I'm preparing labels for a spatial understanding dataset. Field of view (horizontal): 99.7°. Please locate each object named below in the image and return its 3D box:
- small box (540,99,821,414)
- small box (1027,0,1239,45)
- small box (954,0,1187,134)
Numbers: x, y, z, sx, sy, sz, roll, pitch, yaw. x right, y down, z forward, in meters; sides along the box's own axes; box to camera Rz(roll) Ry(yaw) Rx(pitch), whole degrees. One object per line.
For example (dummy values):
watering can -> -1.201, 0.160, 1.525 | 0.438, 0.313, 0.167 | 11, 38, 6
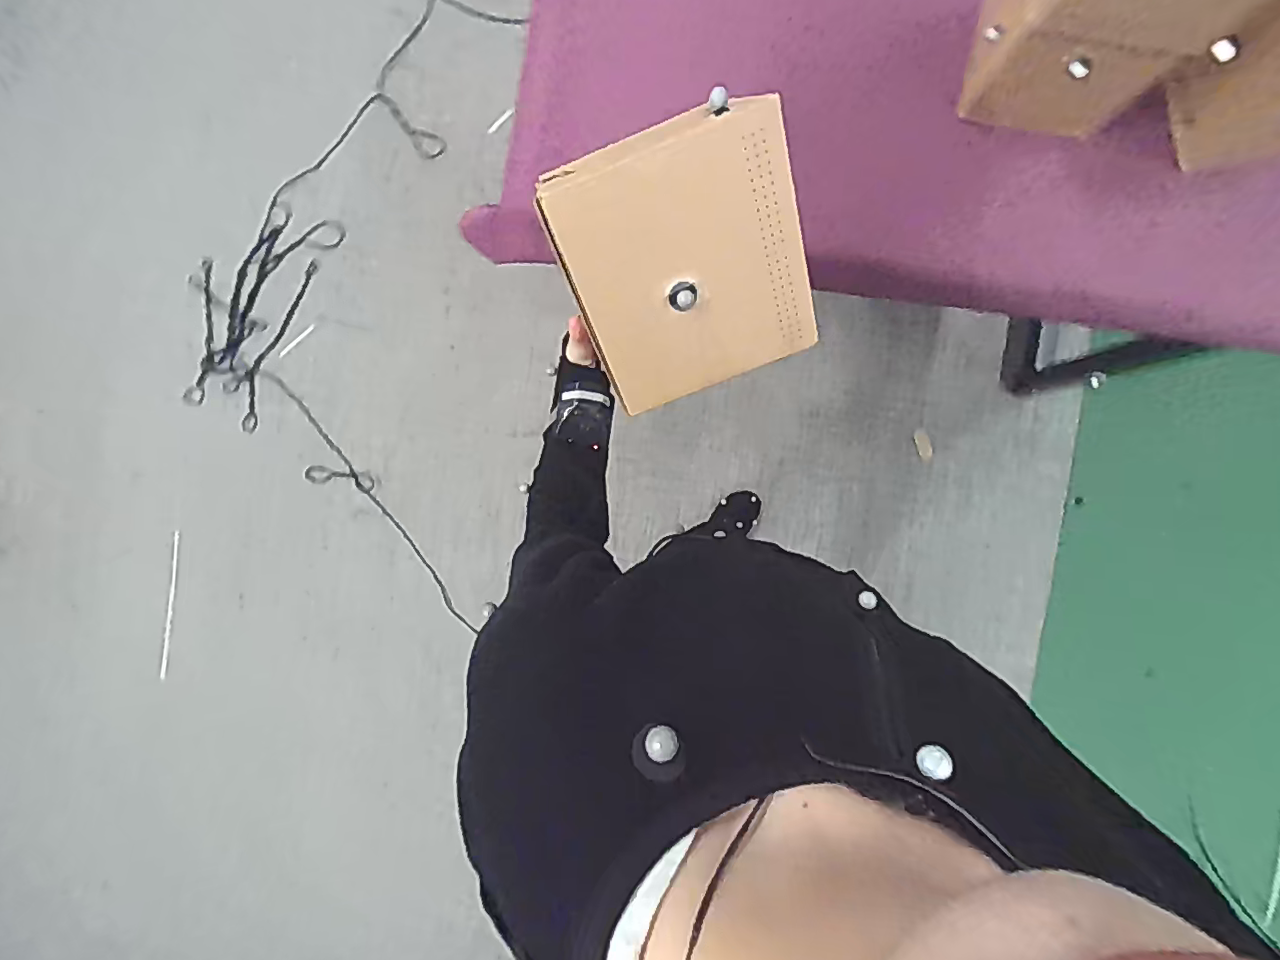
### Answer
small box -> 0.030, -0.189, 0.446 | 0.176, 0.168, 0.179 | -21, 124, 4
small box -> 0.513, -0.553, 0.498 | 0.179, 0.176, 0.168 | 14, 91, 5
small box -> 0.523, -0.563, 0.662 | 0.179, 0.176, 0.168 | 13, 92, 4
